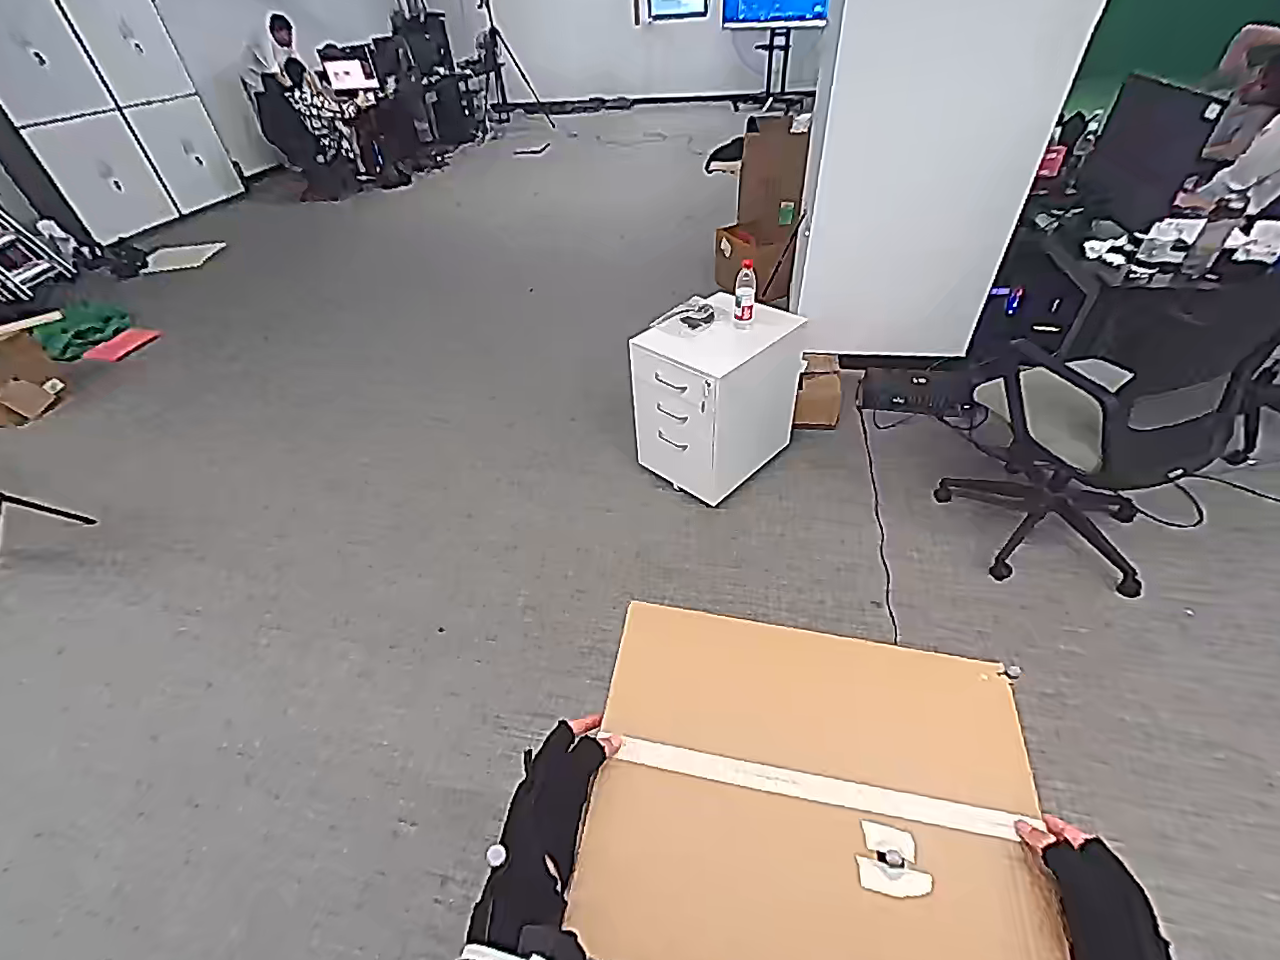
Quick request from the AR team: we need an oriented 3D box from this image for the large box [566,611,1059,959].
[{"bbox_3d":[0.158,0.389,0.627,0.408,0.320,0.320,8,51,8],"label":"large box"}]
